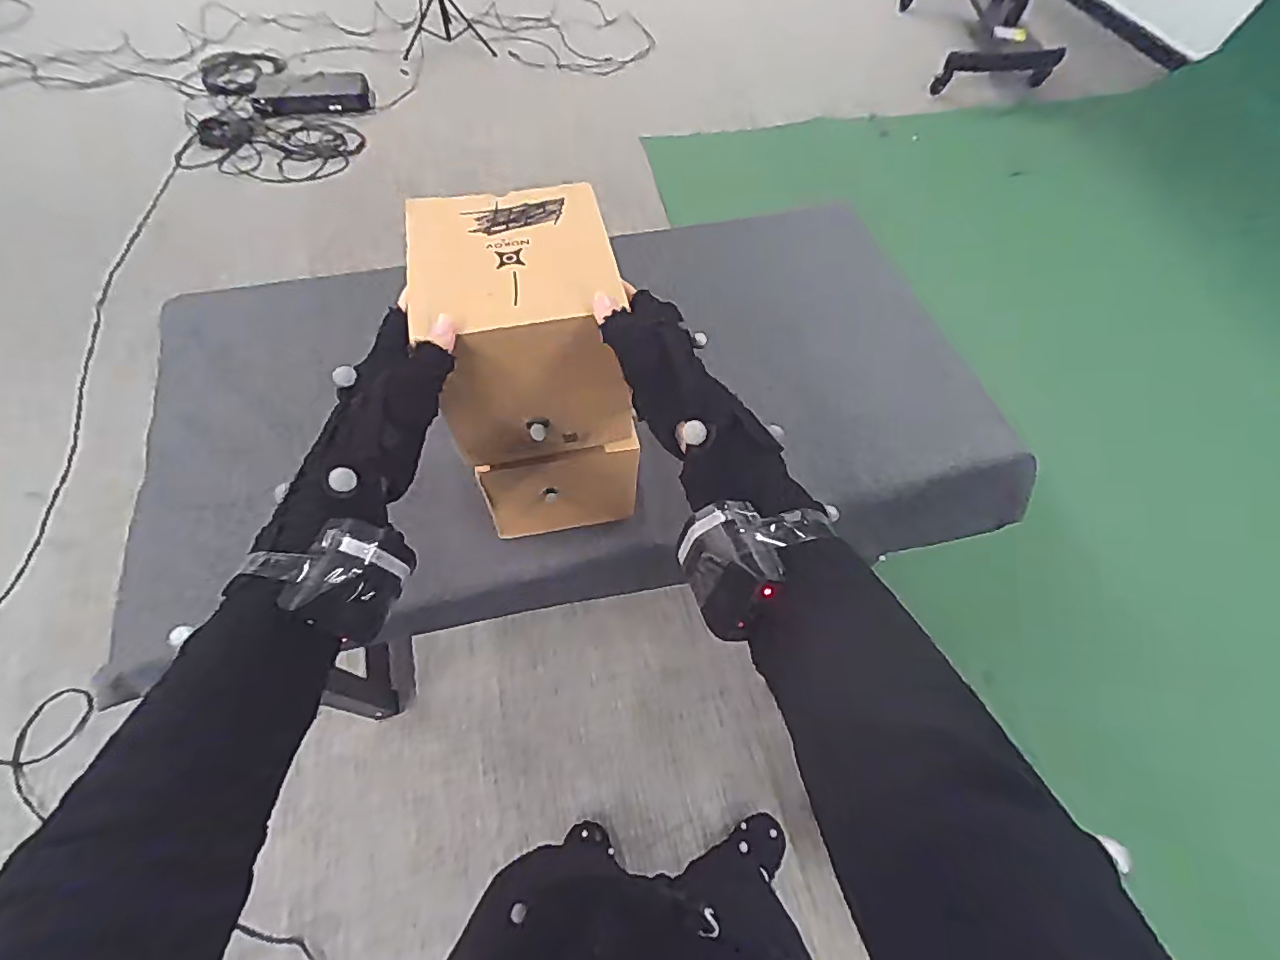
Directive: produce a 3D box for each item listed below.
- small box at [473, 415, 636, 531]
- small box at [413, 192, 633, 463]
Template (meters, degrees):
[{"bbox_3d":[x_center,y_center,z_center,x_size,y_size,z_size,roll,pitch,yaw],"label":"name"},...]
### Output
[{"bbox_3d":[-0.105,-0.049,0.679,0.179,0.176,0.168,-9,61,-8],"label":"small box"},{"bbox_3d":[-0.103,-0.141,0.515,0.168,0.176,0.179,-9,58,-7],"label":"small box"}]
